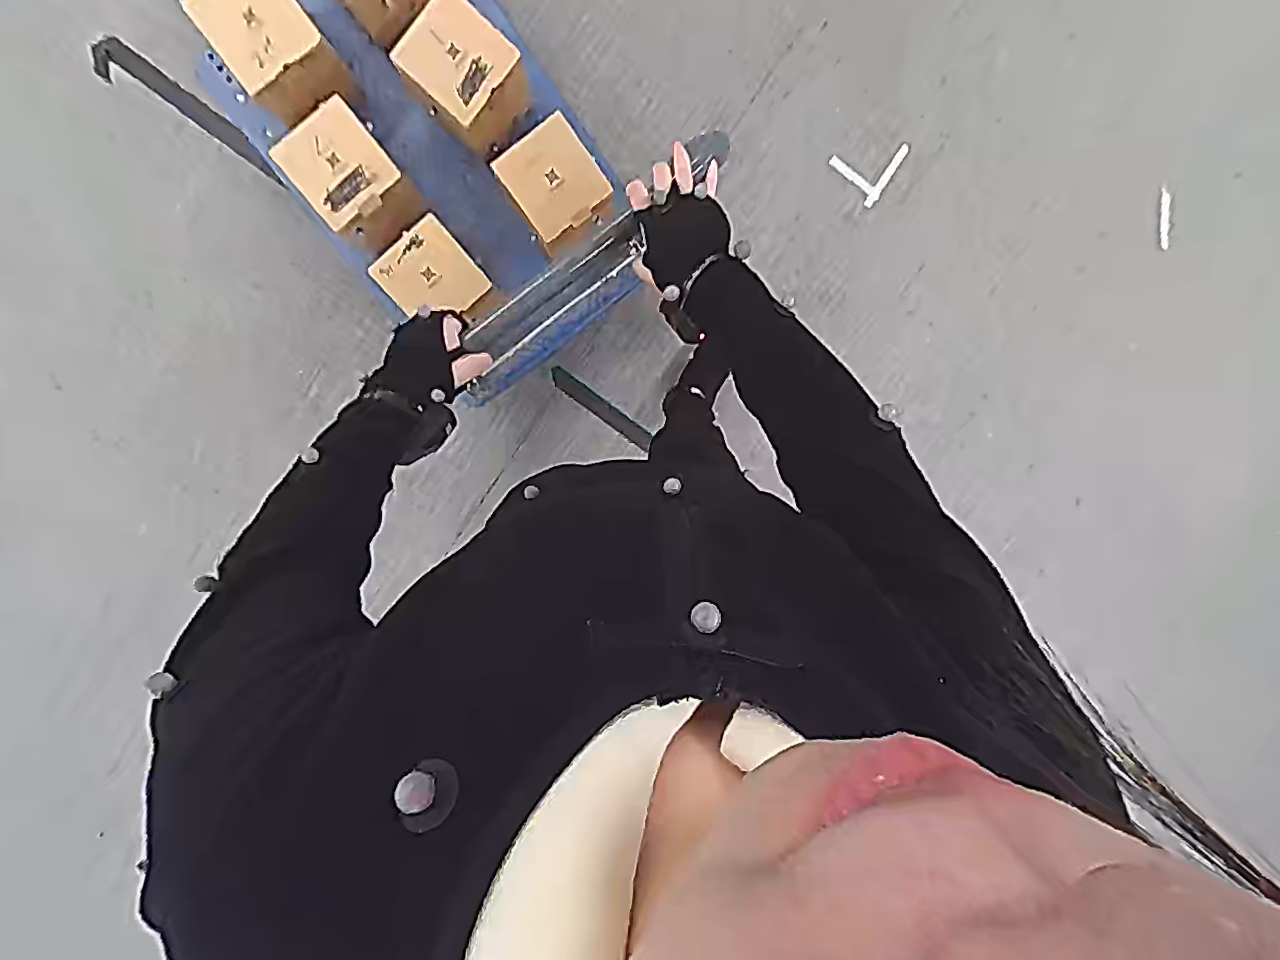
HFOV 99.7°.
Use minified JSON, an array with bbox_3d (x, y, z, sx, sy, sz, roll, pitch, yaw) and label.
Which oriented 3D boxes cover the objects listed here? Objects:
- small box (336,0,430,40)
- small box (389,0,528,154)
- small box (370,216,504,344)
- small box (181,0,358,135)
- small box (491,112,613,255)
[{"bbox_3d":[-0.518,-0.973,0.999,0.168,0.176,0.179,-41,101,3],"label":"small box"},{"bbox_3d":[-0.338,-0.773,1.049,0.179,0.176,0.168,39,94,-9],"label":"small box"},{"bbox_3d":[-0.401,-0.396,1.108,0.168,0.176,0.179,-42,101,2],"label":"small box"},{"bbox_3d":[-0.678,-0.801,1.013,0.168,0.176,0.179,-36,102,2],"label":"small box"},{"bbox_3d":[-0.170,-0.584,1.098,0.168,0.176,0.179,-38,100,1],"label":"small box"}]
